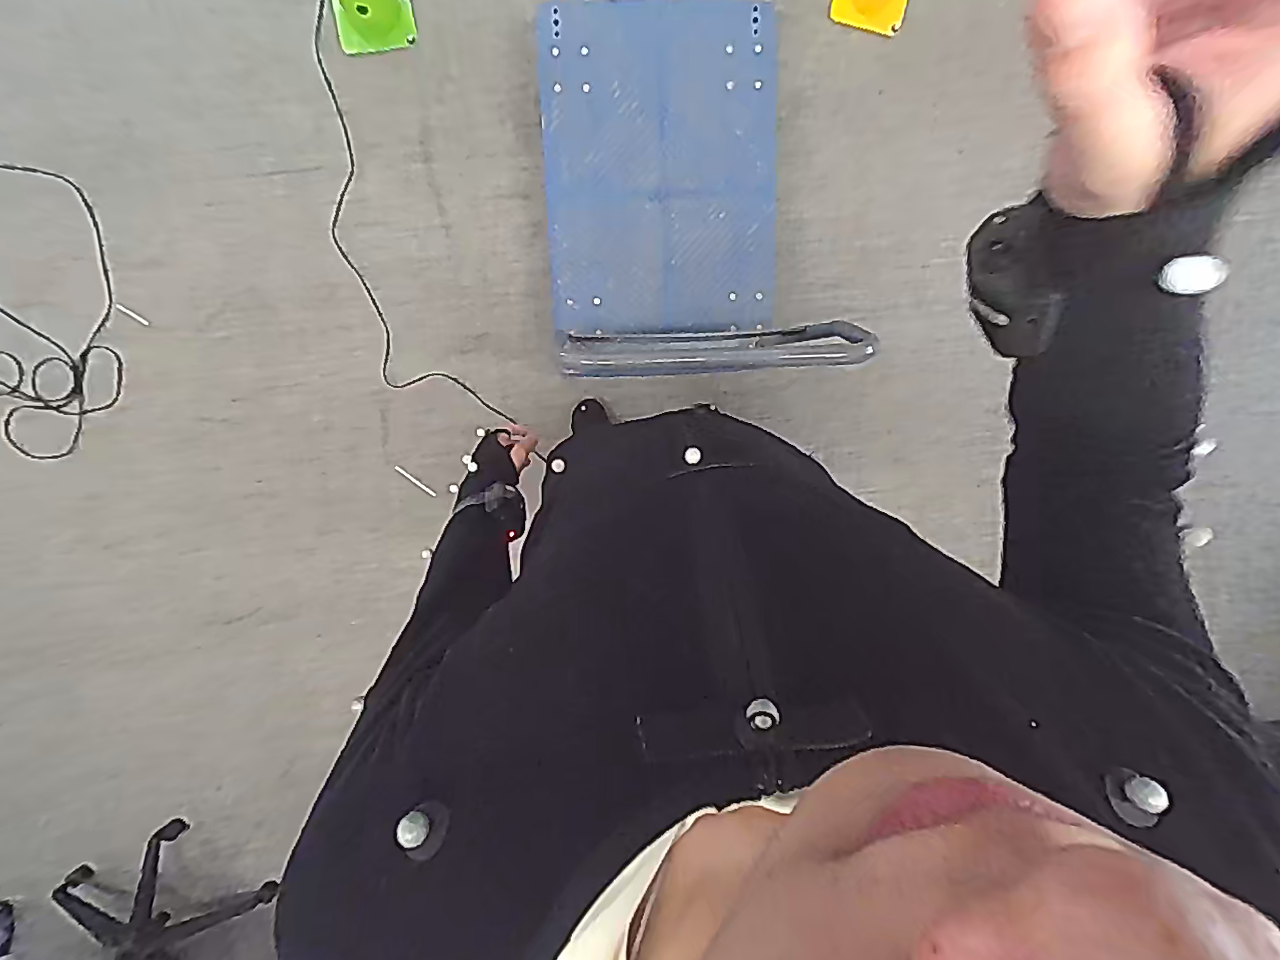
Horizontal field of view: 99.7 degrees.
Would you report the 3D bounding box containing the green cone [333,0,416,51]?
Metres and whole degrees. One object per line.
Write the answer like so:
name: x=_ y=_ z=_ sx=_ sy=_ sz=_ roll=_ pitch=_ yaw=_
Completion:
green cone: x=-0.695 y=-1.213 z=1.238 sx=0.202 sy=0.368 sz=0.200 roll=-9 pitch=99 yaw=1
